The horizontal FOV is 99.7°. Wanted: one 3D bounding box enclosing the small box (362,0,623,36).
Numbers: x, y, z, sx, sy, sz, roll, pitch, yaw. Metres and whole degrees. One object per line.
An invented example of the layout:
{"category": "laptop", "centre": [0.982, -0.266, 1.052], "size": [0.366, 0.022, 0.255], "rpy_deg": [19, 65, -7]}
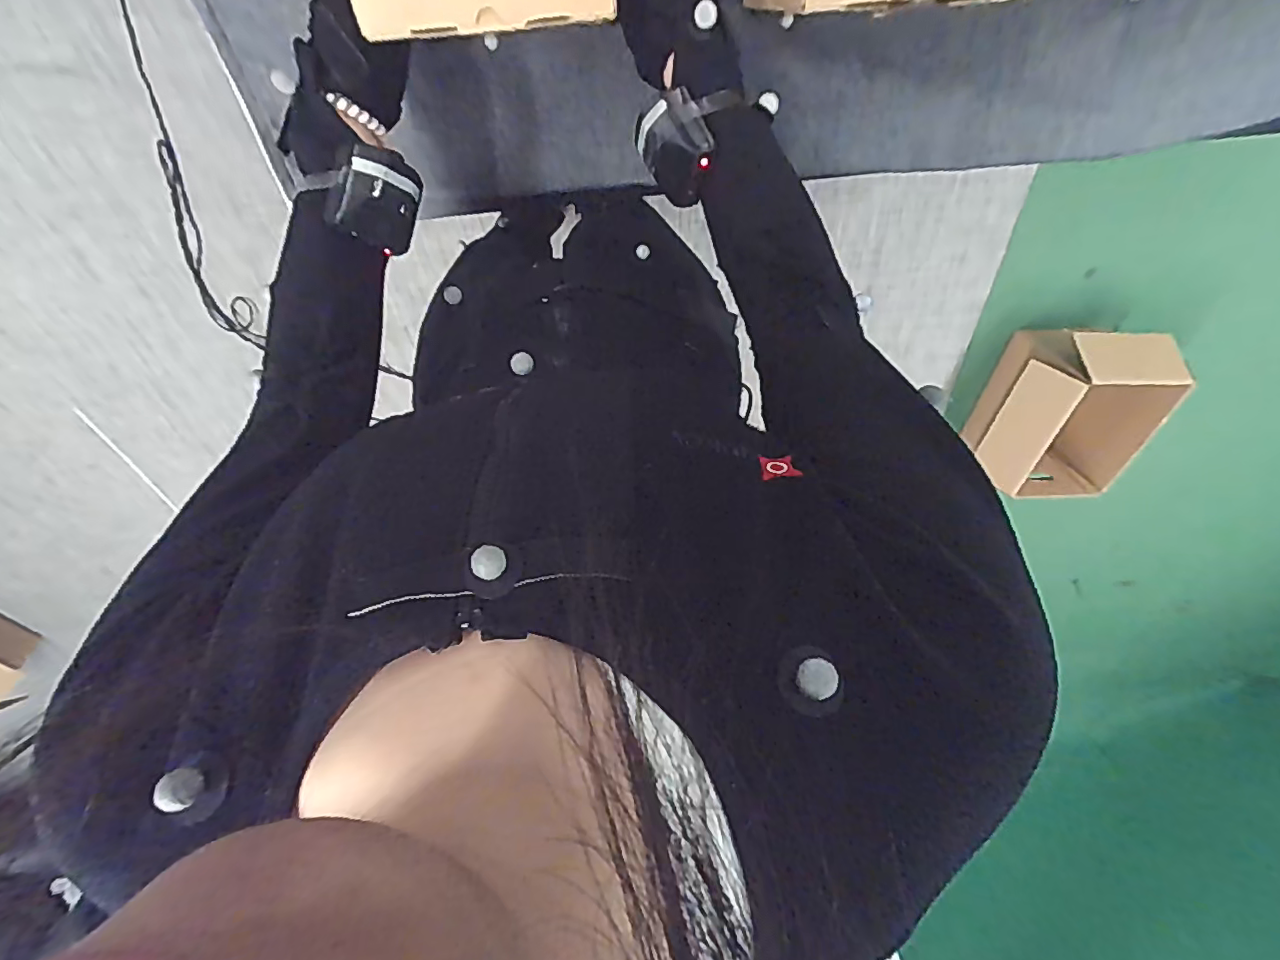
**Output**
{"category": "small box", "centre": [-0.107, -0.411, 0.355], "size": [0.168, 0.176, 0.179], "rpy_deg": [-8, 132, -2]}

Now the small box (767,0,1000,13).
{"category": "small box", "centre": [0.179, -0.441, 0.369], "size": [0.168, 0.176, 0.179], "rpy_deg": [-6, 131, -3]}
